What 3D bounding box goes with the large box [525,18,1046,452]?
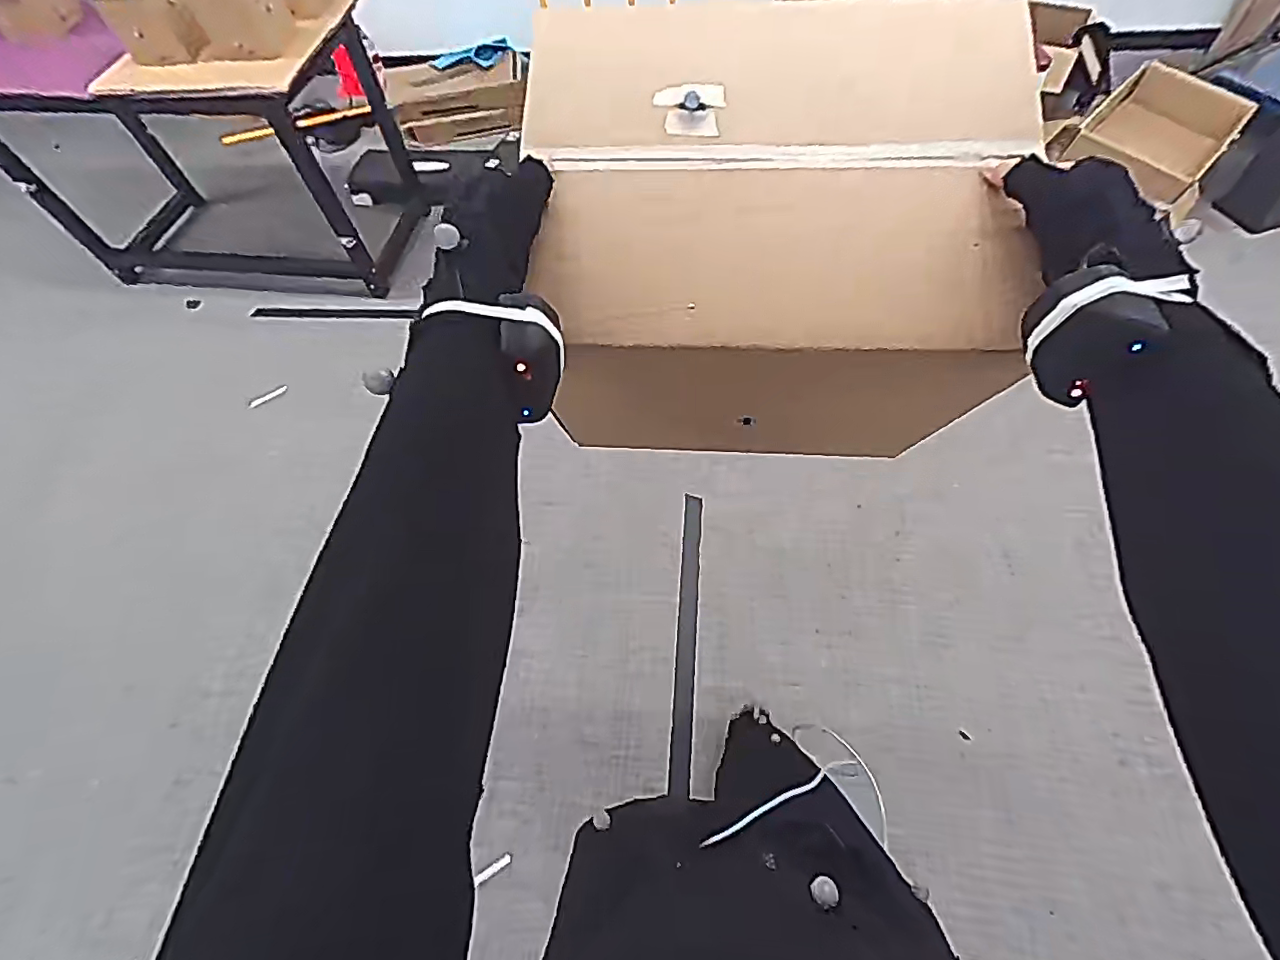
[{"bbox_3d":[0.124,-0.215,0.590,0.408,0.320,0.320,2,78,6],"label":"large box"}]
